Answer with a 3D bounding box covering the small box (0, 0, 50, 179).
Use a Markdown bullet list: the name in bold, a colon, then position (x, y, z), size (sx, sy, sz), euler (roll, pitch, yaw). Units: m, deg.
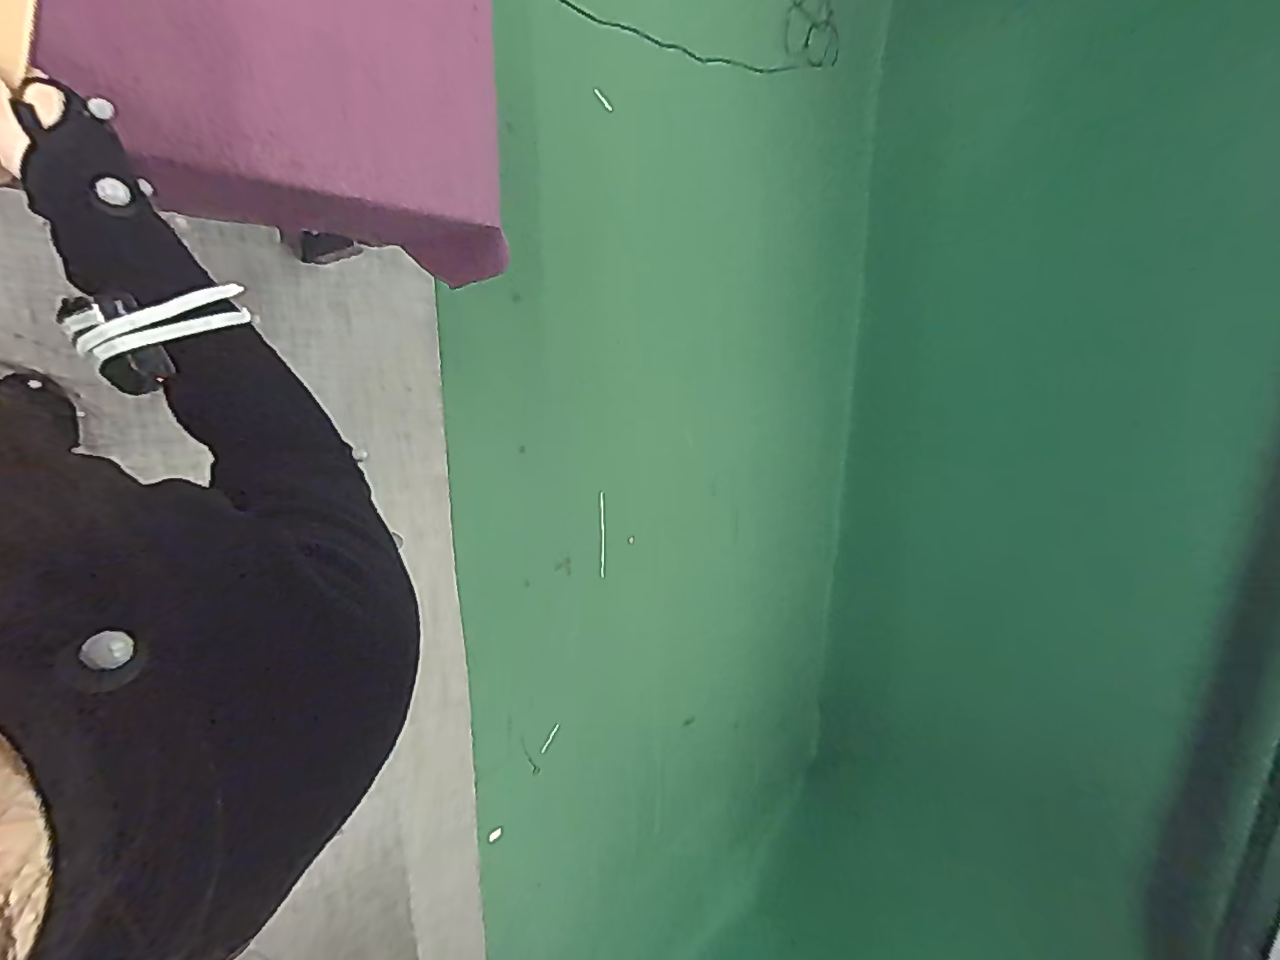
- **small box**: position (-0.519, -0.333, 0.349), size (0.179, 0.176, 0.168), euler (8, 84, -50)
